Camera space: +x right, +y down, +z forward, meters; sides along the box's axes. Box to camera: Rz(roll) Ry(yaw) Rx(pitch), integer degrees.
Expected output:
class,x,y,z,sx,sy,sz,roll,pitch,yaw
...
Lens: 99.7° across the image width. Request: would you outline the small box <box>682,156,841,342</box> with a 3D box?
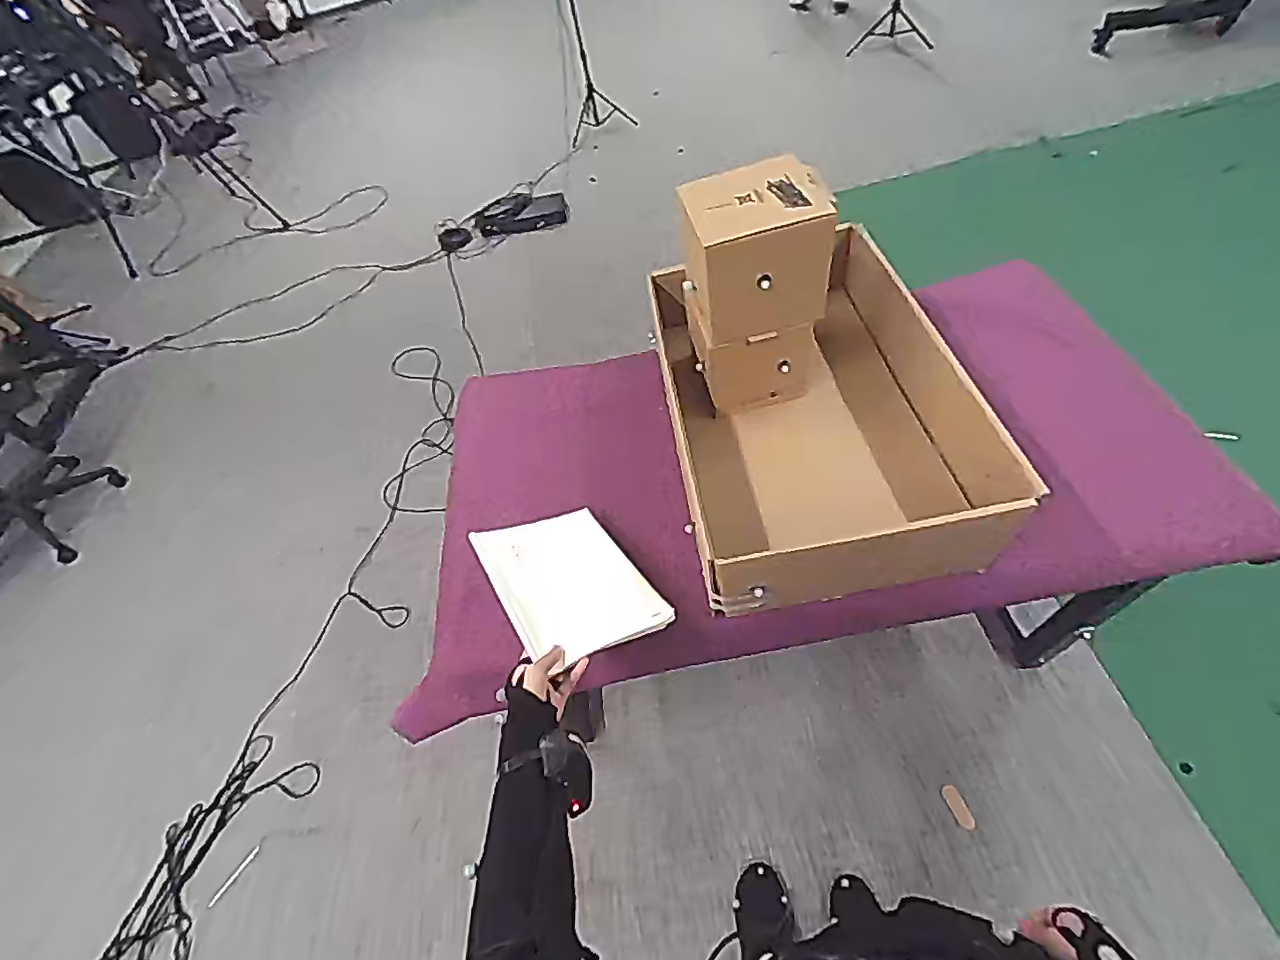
class,x,y,z,sx,sy,sz,roll,pitch,yaw
small box,0.168,-0.331,0.790,0.179,0.176,0.168,-14,54,2
